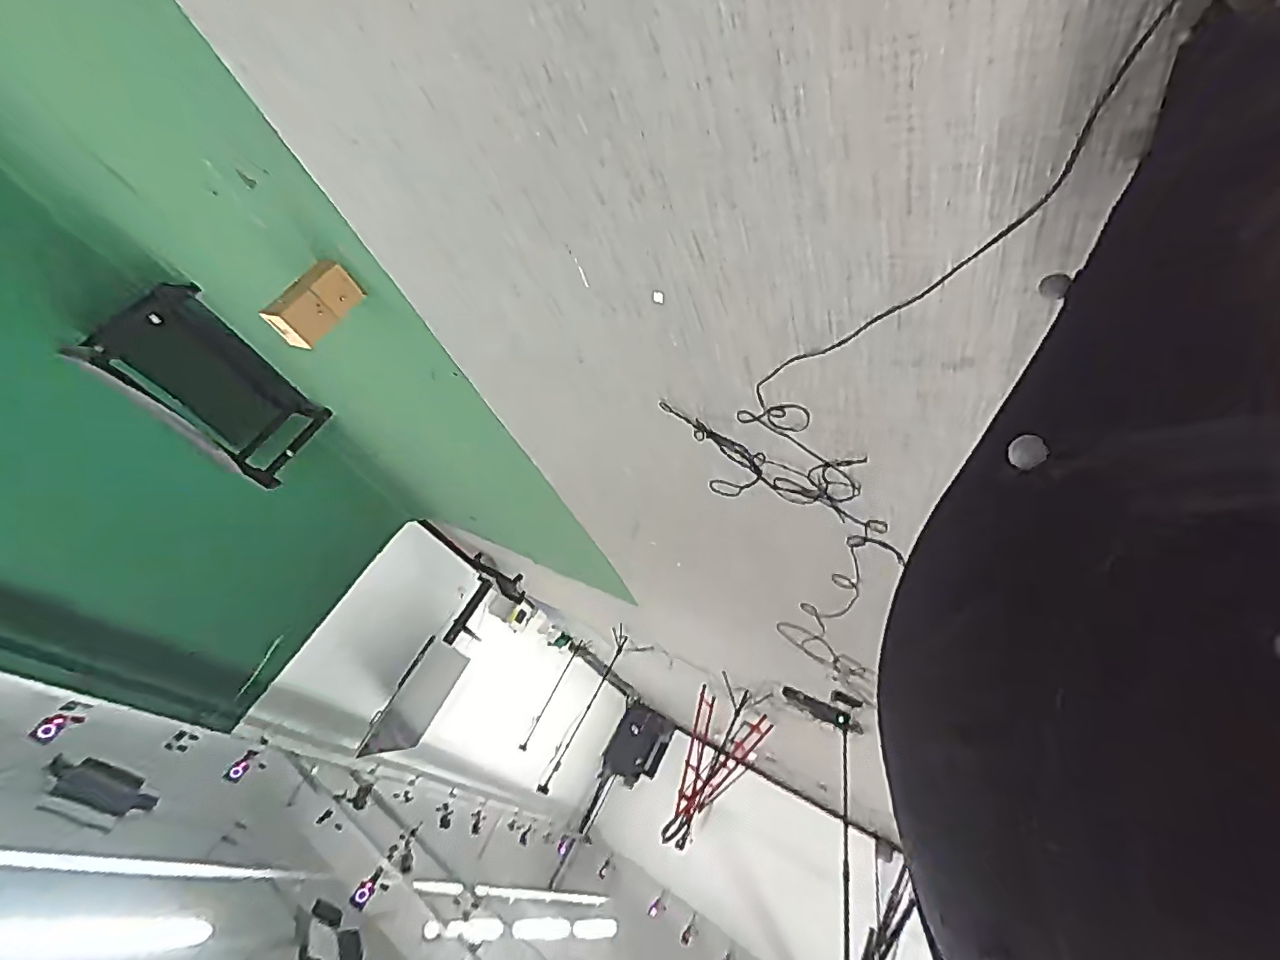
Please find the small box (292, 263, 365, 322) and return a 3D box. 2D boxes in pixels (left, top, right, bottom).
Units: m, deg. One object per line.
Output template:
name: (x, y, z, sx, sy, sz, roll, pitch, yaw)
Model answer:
small box: (-1.284, -0.783, 2.246, 0.179, 0.176, 0.168, 17, 153, 32)
